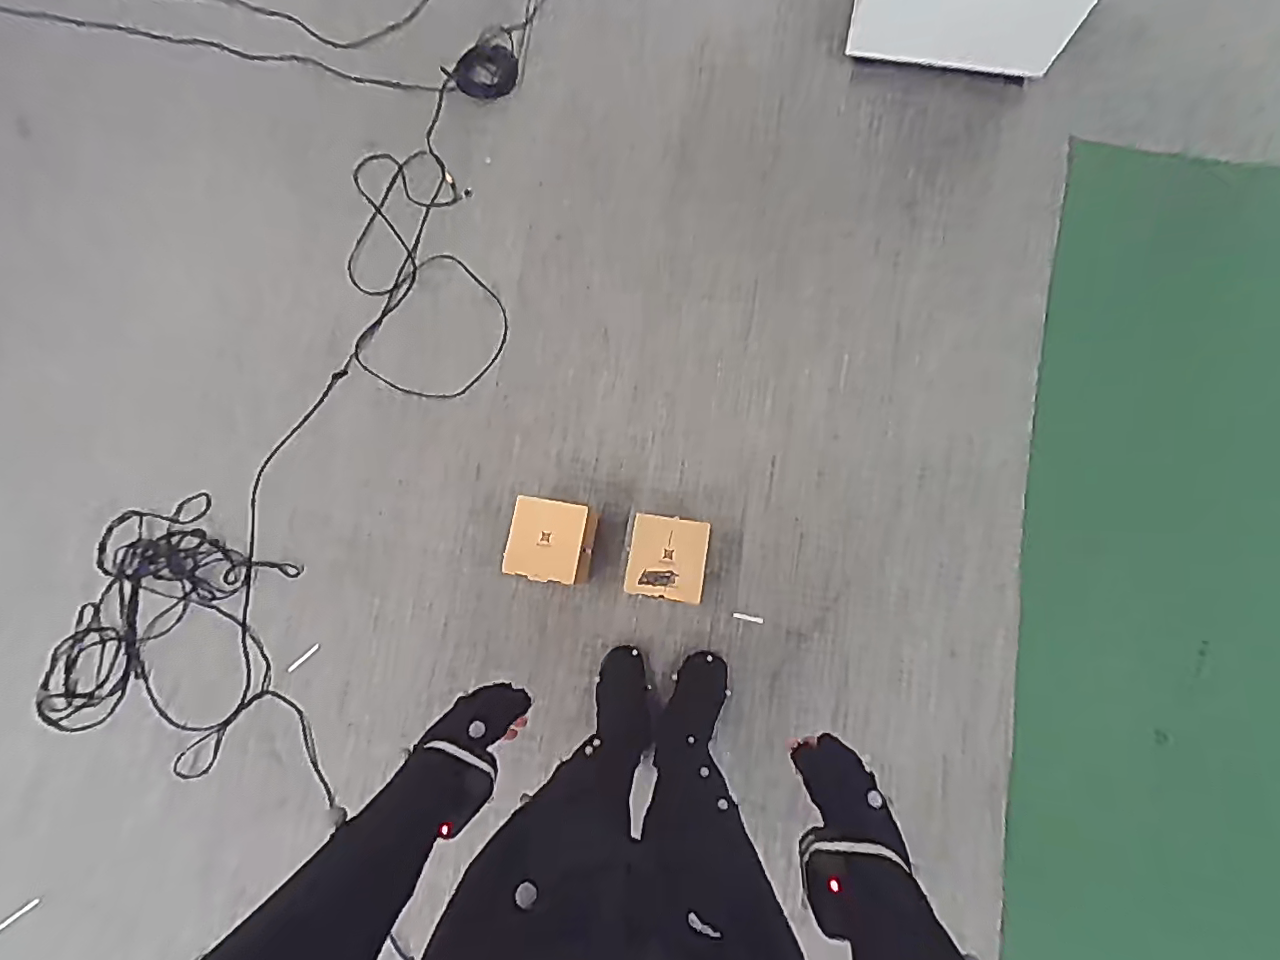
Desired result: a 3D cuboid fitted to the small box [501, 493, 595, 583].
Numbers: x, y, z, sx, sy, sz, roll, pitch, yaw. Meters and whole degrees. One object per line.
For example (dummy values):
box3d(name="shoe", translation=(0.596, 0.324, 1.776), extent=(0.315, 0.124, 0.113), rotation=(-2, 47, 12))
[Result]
box3d(name="small box", translation=(-0.206, 0.140, 1.268), extent=(0.168, 0.176, 0.179), rotation=(9, 81, 6))

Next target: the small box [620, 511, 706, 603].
box3d(name="small box", translation=(0.056, 0.178, 1.241), extent=(0.168, 0.176, 0.179), rotation=(9, 80, 5))
